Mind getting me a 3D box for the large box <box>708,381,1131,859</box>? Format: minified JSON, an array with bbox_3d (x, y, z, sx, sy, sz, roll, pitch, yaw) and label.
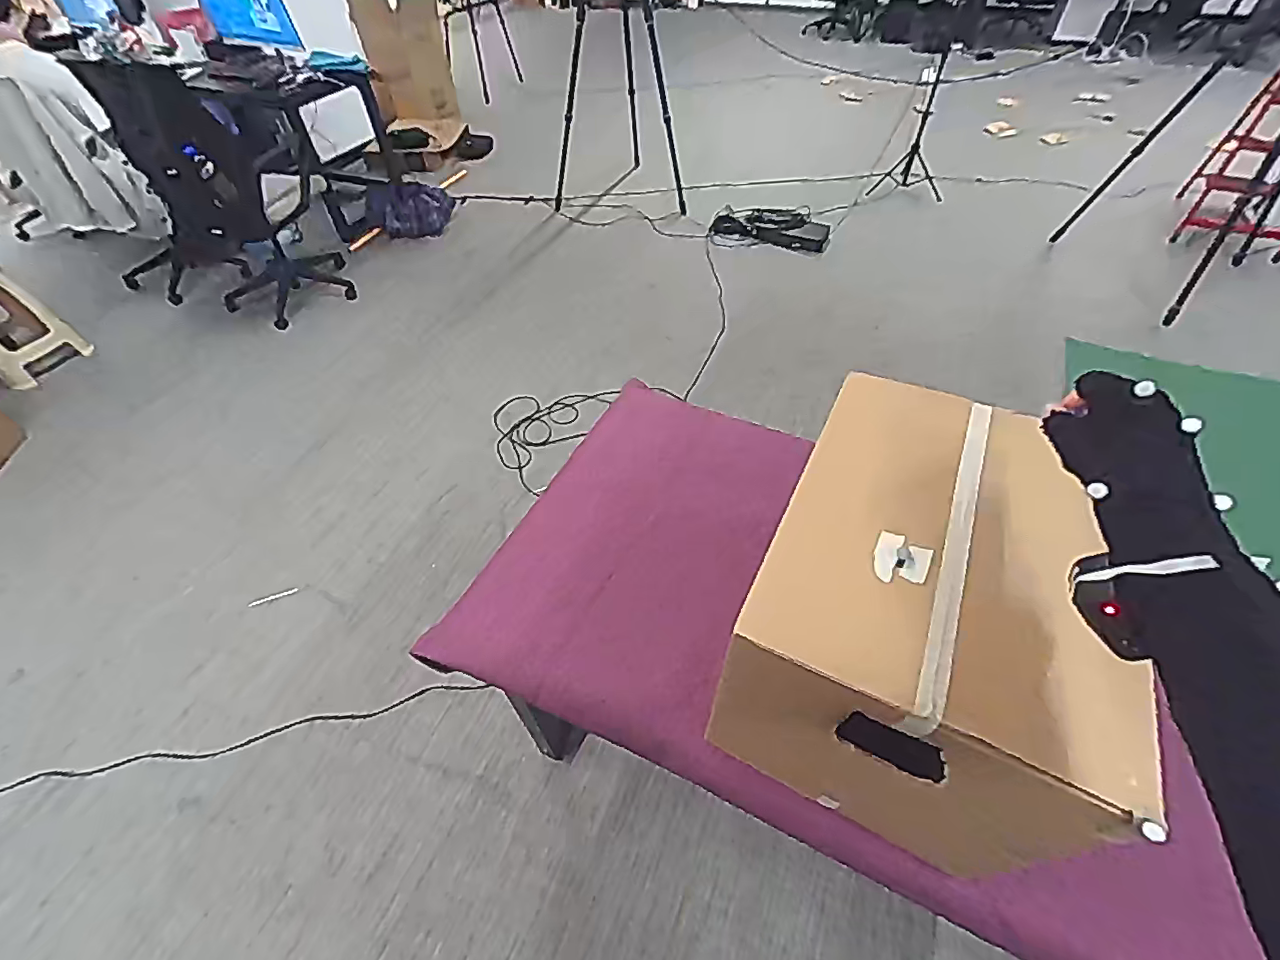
[{"bbox_3d":[0.309,0.153,0.658,0.320,0.320,0.408,21,54,19],"label":"large box"}]
